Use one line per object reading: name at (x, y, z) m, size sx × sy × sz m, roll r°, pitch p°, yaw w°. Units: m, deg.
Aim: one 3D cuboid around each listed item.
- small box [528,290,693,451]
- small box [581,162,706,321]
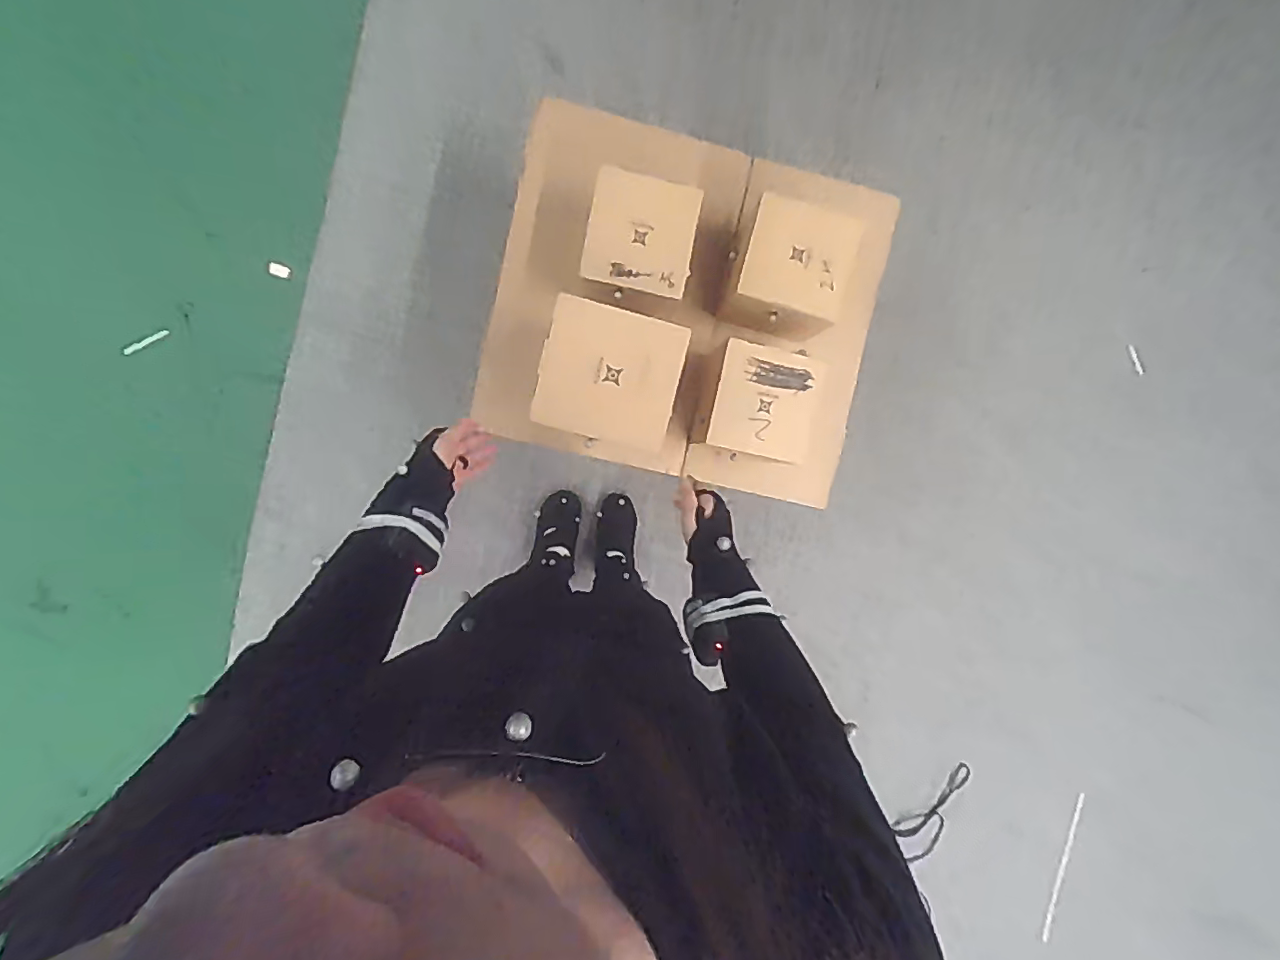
small box at (-0.042, -0.141, 0.755) m, size 0.179 × 0.176 × 0.168 m, roll 15°, pitch 94°, yaw -5°
small box at (0.001, -0.385, 0.904) m, size 0.168 × 0.176 × 0.179 m, roll 12°, pitch 92°, yaw -3°
